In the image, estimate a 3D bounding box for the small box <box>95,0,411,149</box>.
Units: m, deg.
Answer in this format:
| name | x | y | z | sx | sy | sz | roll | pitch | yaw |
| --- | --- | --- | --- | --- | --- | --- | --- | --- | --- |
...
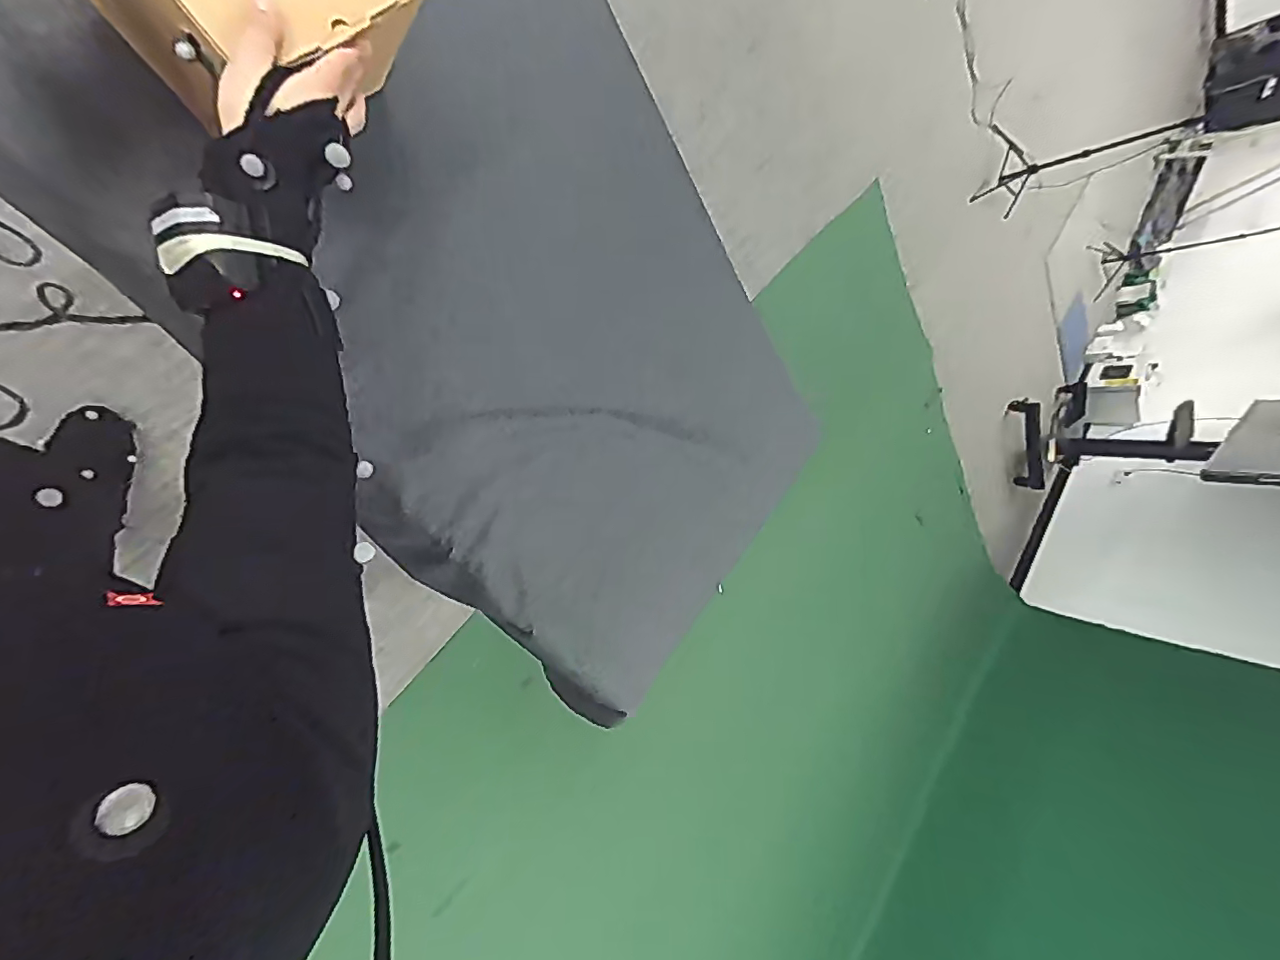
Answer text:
| name | x | y | z | sx | sy | sz | roll | pitch | yaw |
| --- | --- | --- | --- | --- | --- | --- | --- | --- | --- |
| small box | -0.310 | -0.397 | 0.407 | 0.168 | 0.176 | 0.179 | -51 | 124 | -20 |
